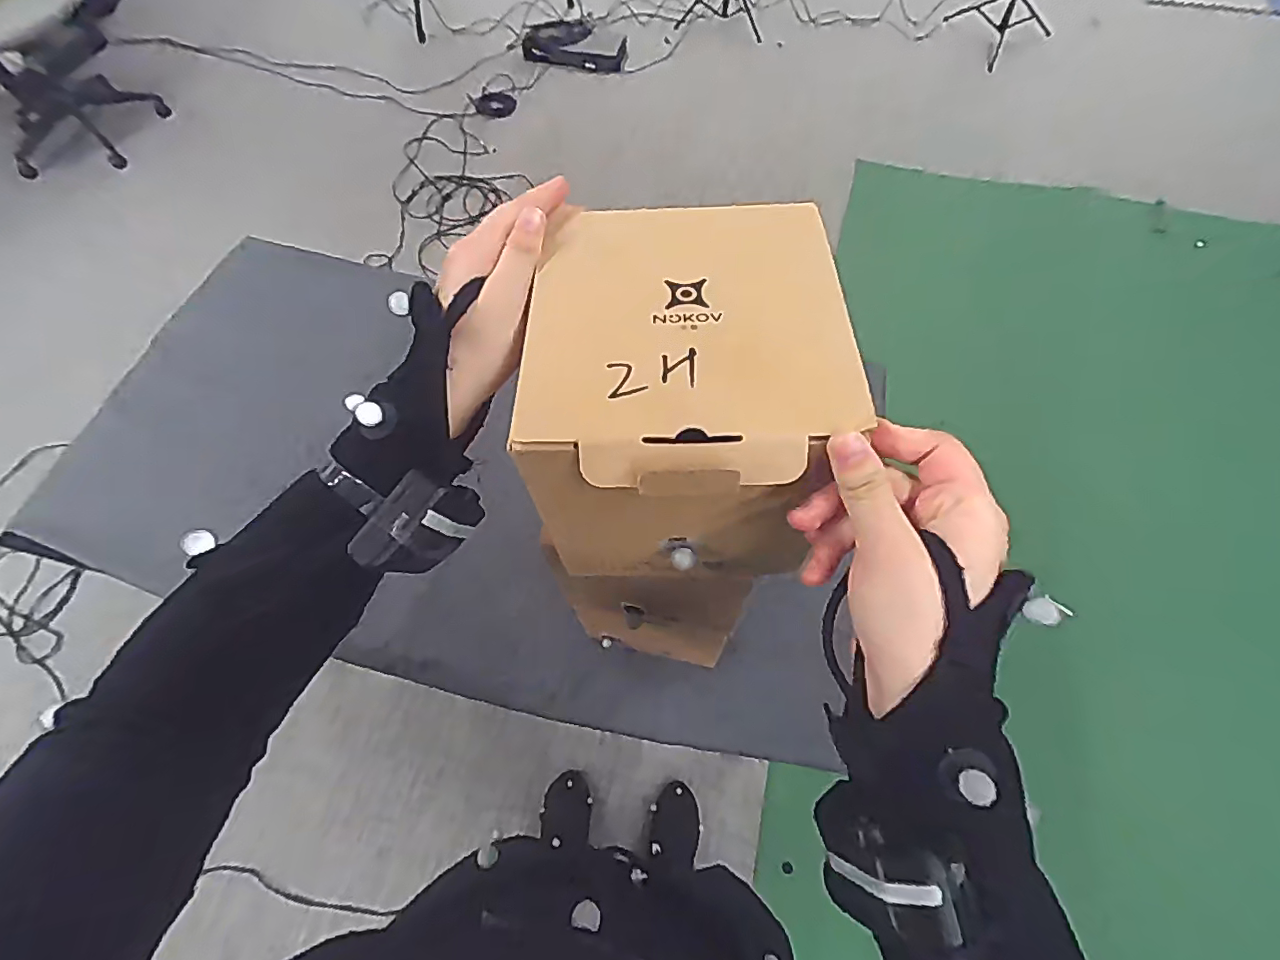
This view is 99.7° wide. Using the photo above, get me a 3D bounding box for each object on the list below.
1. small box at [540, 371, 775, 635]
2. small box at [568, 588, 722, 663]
[{"bbox_3d":[0.023,0.027,0.500,0.168,0.176,0.179,8,62,8],"label":"small box"},{"bbox_3d":[0.028,0.102,0.644,0.168,0.176,0.179,12,61,8],"label":"small box"}]
